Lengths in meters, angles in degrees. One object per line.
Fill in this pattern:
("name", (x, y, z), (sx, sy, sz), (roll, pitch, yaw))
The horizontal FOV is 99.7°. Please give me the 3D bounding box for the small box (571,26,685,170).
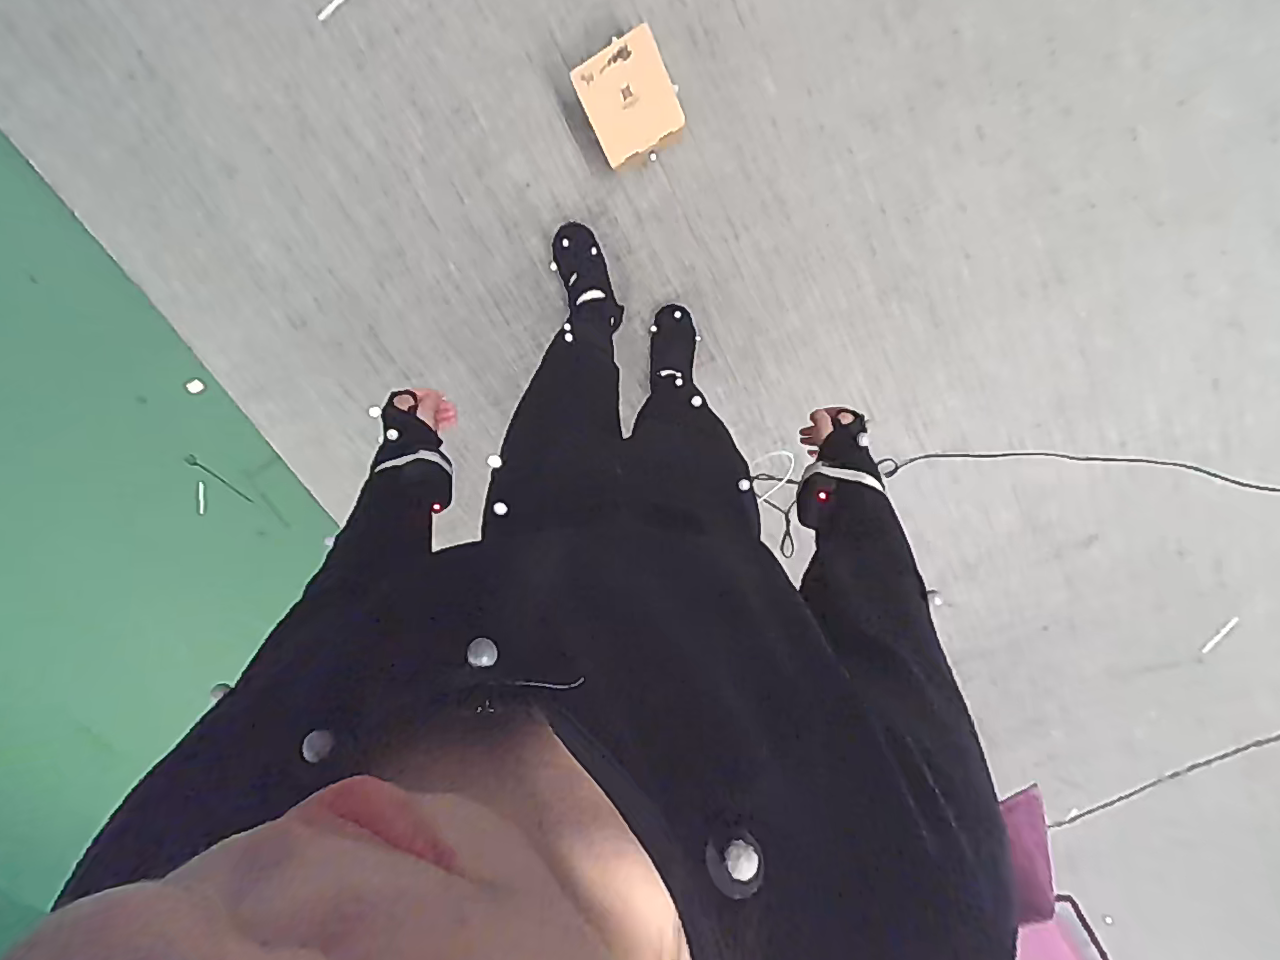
("small box", (-0.014, -0.749, 1.084), (0.168, 0.176, 0.179), (-22, 112, 15))
